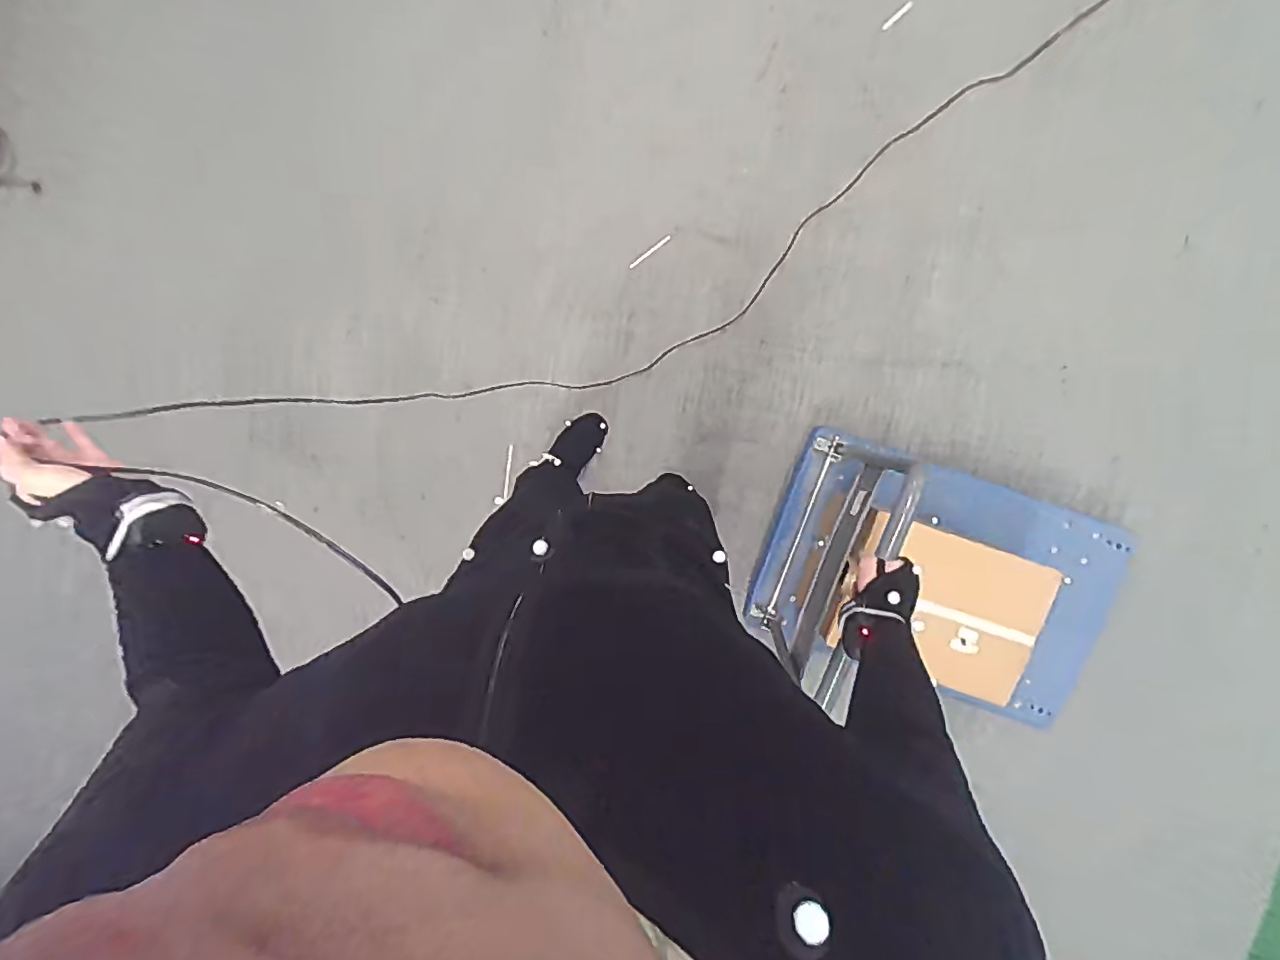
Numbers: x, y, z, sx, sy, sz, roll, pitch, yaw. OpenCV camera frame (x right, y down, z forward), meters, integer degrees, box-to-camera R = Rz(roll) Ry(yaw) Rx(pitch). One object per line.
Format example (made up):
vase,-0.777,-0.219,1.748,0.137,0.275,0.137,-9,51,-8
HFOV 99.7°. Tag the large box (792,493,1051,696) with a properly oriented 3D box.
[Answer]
large box,0.631,0.246,1.292,0.408,0.320,0.320,19,97,1
